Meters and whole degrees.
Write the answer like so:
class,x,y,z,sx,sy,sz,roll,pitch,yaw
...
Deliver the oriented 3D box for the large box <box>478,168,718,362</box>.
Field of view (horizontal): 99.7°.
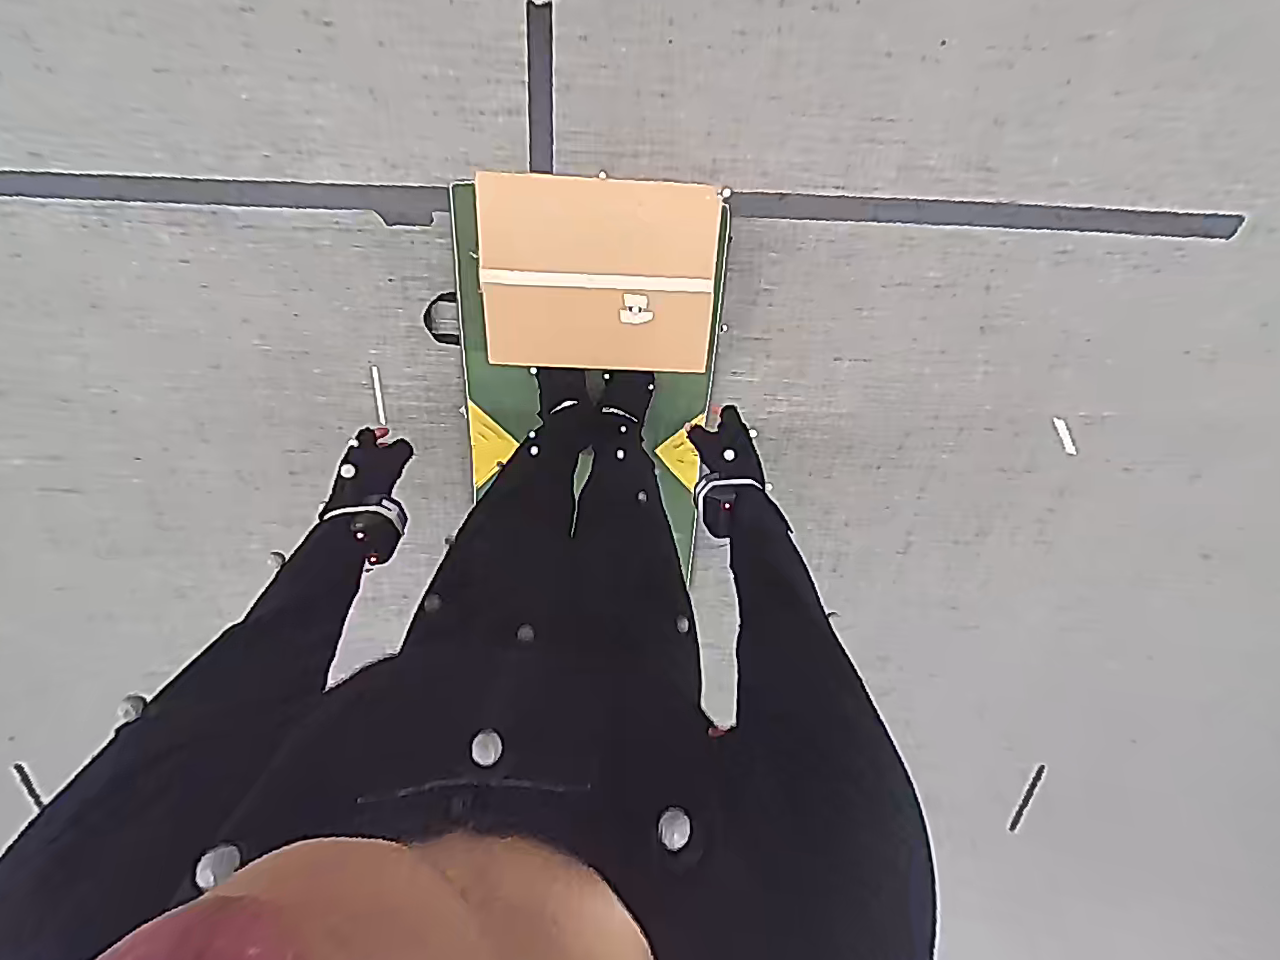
class,x,y,z,sx,sy,sz,roll,pitch,yaw
large box,-0.080,-0.427,1.086,0.408,0.320,0.320,1,116,-4
